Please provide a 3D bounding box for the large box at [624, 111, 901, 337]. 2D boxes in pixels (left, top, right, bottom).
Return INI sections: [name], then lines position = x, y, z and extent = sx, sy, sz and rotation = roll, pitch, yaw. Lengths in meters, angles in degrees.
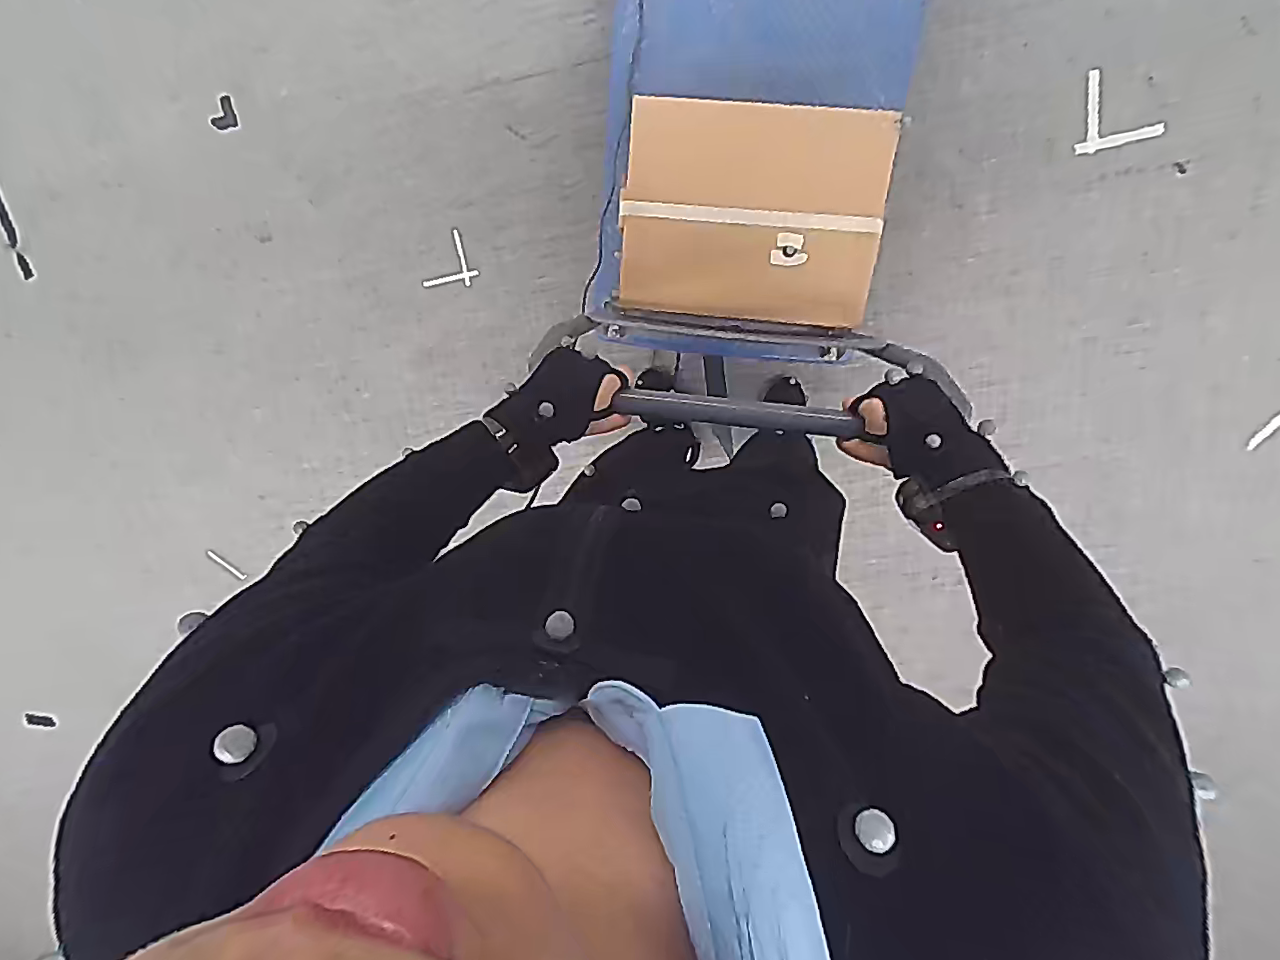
[large box]
position = 0.189, -0.436, 0.990
extent = 0.408, 0.320, 0.320
rotation = 6, 107, 3
